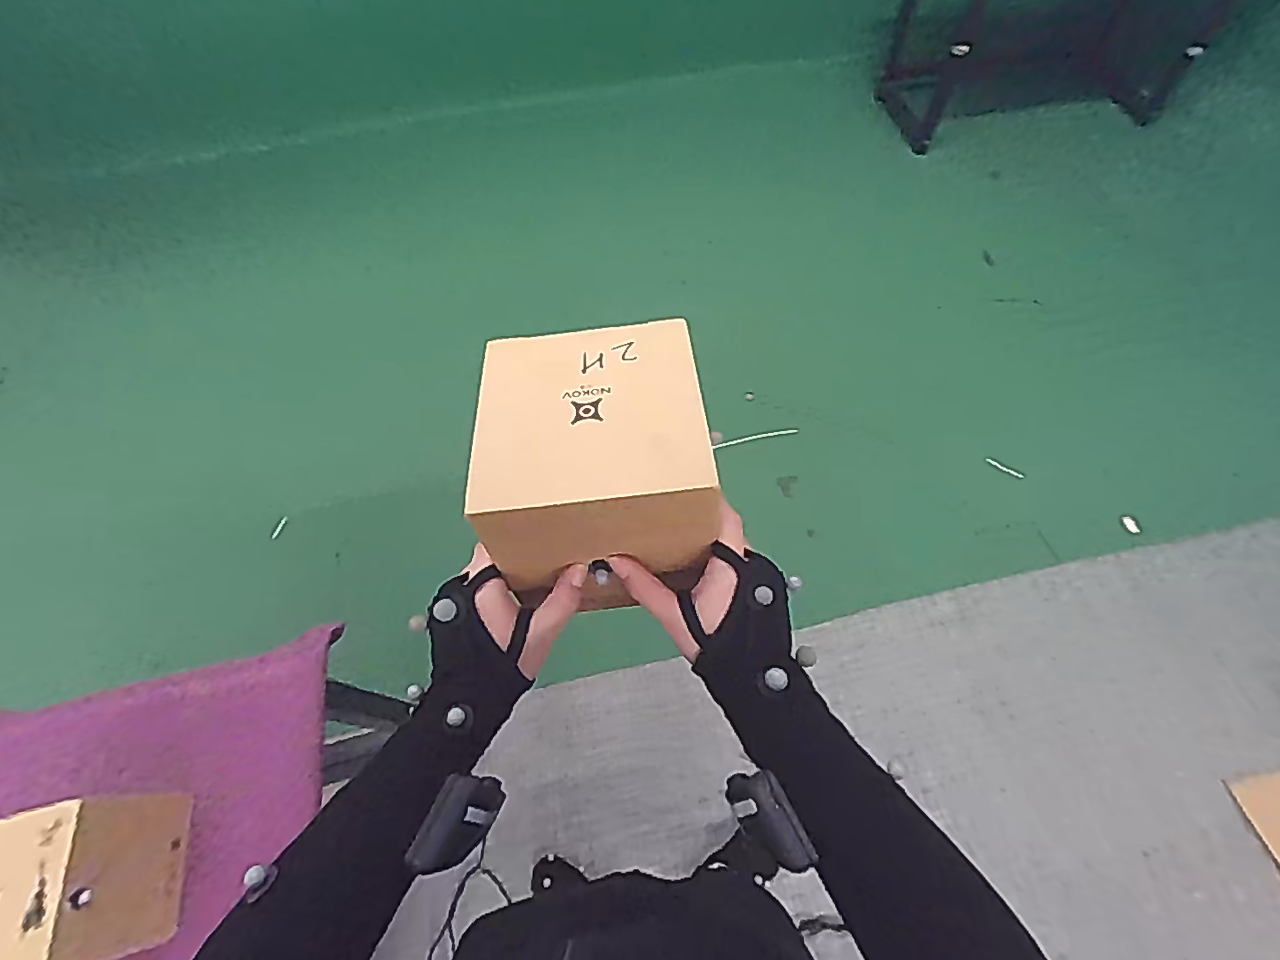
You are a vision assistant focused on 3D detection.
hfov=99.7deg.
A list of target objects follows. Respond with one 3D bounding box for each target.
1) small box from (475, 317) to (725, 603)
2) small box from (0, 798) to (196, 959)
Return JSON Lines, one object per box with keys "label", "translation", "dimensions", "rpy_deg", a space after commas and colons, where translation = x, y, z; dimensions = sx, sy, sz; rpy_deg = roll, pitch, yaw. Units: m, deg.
{"label": "small box", "translation": [-0.023, -0.007, 0.453], "dimensions": [0.168, 0.176, 0.179], "rpy_deg": [-5, 52, 1]}
{"label": "small box", "translation": [-0.691, 0.493, 0.643], "dimensions": [0.179, 0.176, 0.168], "rpy_deg": [-15, 62, -3]}
